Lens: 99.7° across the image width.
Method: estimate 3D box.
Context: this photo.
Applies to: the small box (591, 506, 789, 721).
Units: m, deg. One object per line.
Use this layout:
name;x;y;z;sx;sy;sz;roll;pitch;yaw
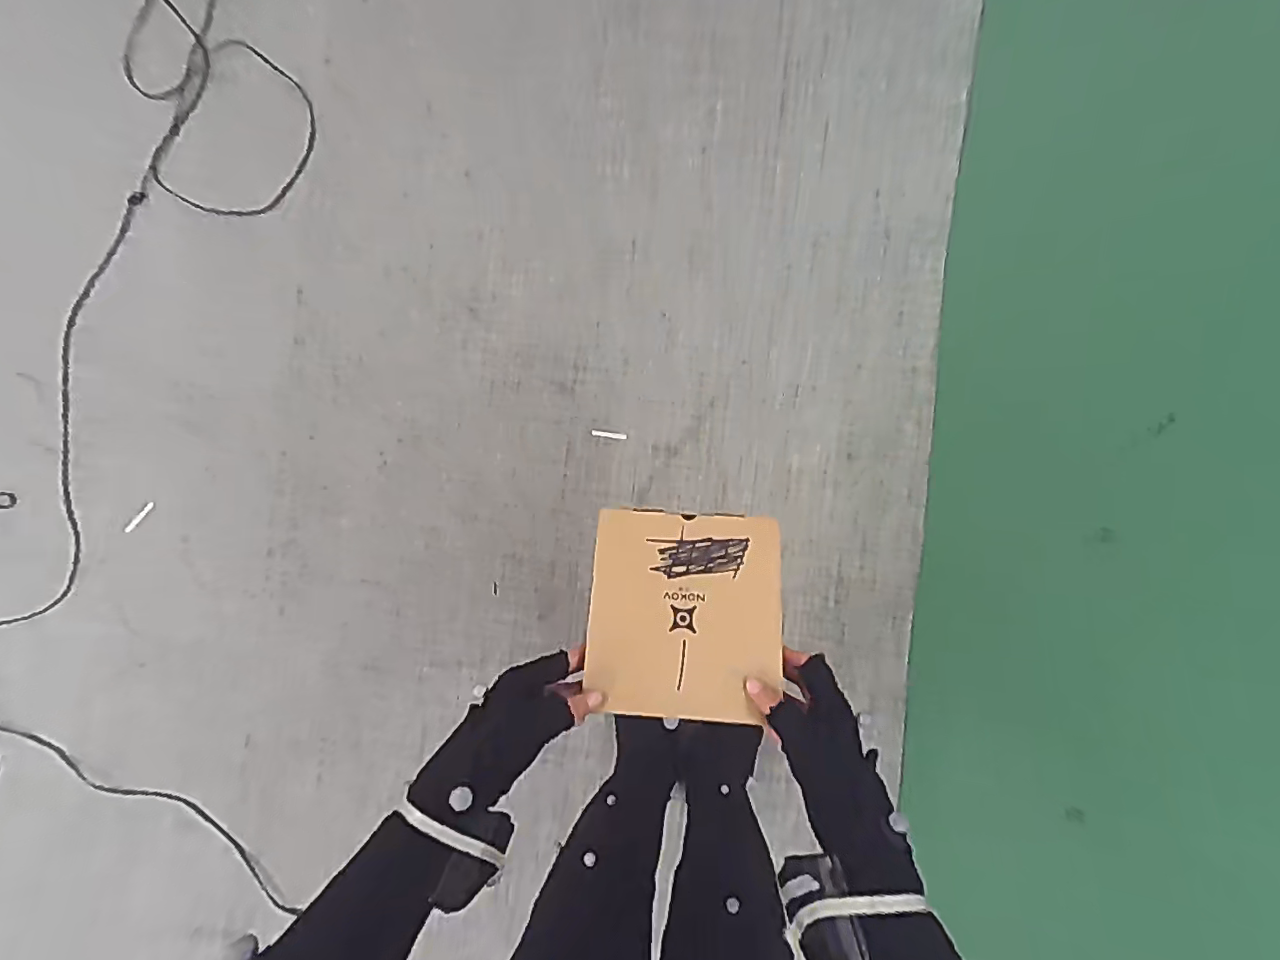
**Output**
small box;0.048;0.137;0.544;0.168;0.176;0.179;3;71;3
